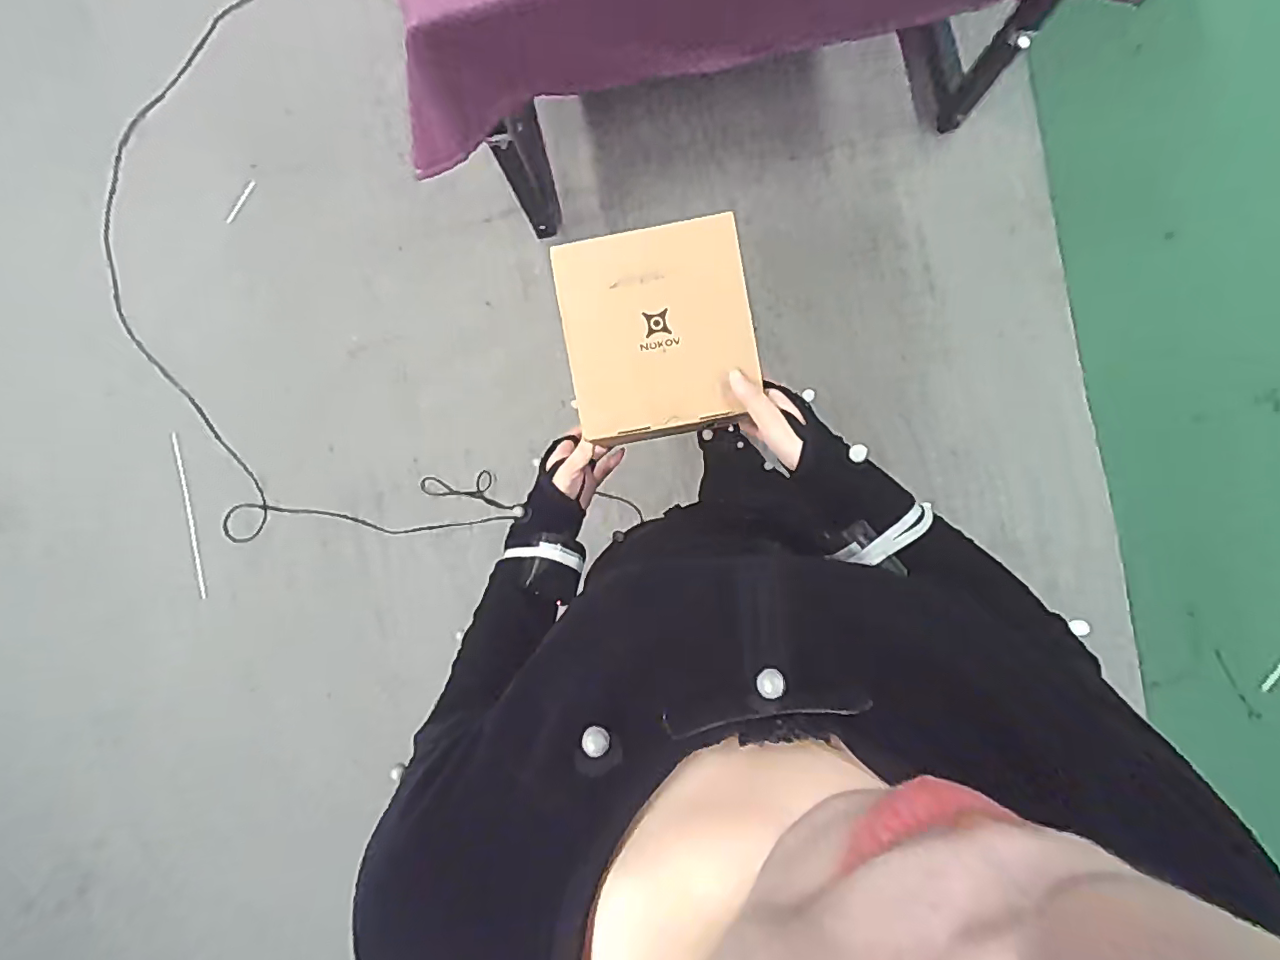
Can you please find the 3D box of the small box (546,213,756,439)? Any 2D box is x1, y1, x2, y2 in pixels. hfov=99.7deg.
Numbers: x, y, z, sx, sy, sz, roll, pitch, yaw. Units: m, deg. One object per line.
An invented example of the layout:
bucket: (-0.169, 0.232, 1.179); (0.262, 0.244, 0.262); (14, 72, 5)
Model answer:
small box: (0.012, -0.140, 0.556); (0.168, 0.176, 0.179); (-10, 92, 1)
